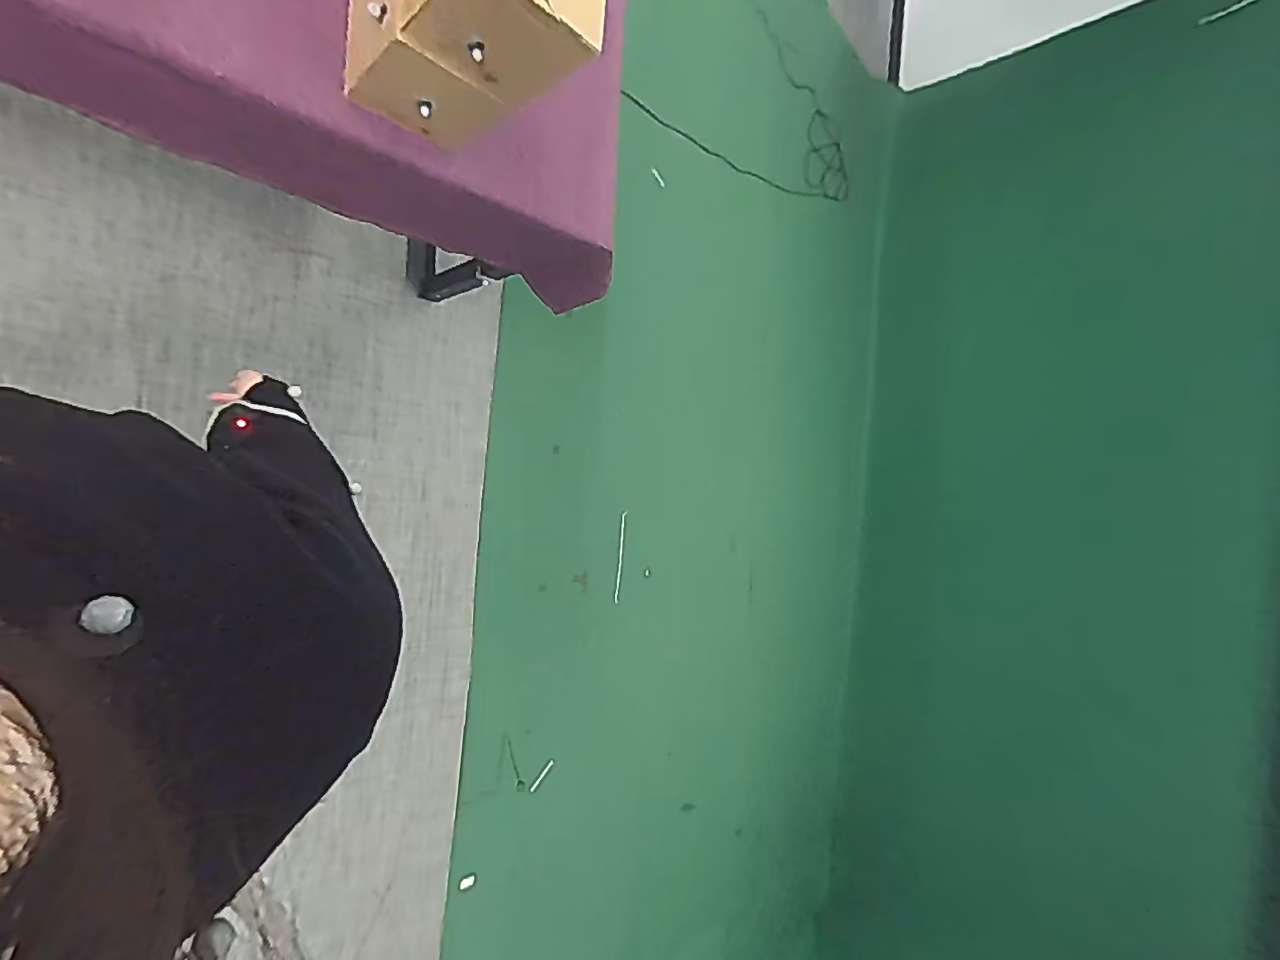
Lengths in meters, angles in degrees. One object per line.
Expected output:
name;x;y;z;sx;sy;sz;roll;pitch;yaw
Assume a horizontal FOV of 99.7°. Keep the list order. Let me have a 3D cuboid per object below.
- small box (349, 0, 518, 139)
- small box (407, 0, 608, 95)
small box;-0.273;-0.603;0.726;0.168;0.176;0.179;2;92;-48
small box;-0.150;-0.599;0.619;0.168;0.176;0.179;3;93;-47
